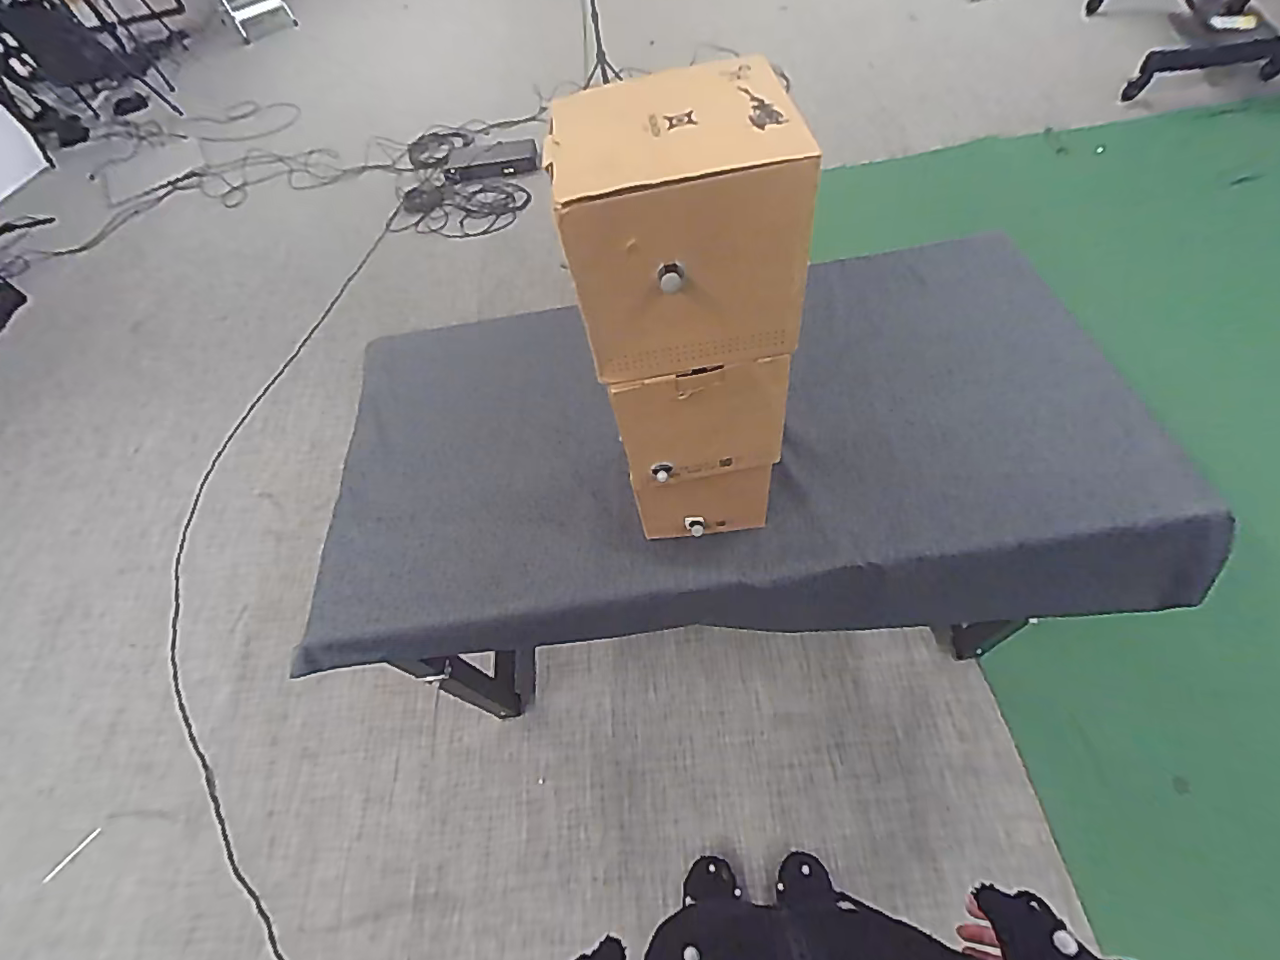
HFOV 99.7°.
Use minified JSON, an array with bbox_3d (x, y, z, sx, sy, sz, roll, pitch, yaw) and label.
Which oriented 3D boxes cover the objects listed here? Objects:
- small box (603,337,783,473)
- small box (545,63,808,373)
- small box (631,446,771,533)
[{"bbox_3d":[0.049,-0.125,0.598,0.168,0.176,0.179,-14,57,1],"label":"small box"},{"bbox_3d":[0.029,-0.215,0.465,0.179,0.176,0.168,-12,54,2],"label":"small box"},{"bbox_3d":[0.076,-0.049,0.741,0.168,0.176,0.179,-9,58,5],"label":"small box"}]
